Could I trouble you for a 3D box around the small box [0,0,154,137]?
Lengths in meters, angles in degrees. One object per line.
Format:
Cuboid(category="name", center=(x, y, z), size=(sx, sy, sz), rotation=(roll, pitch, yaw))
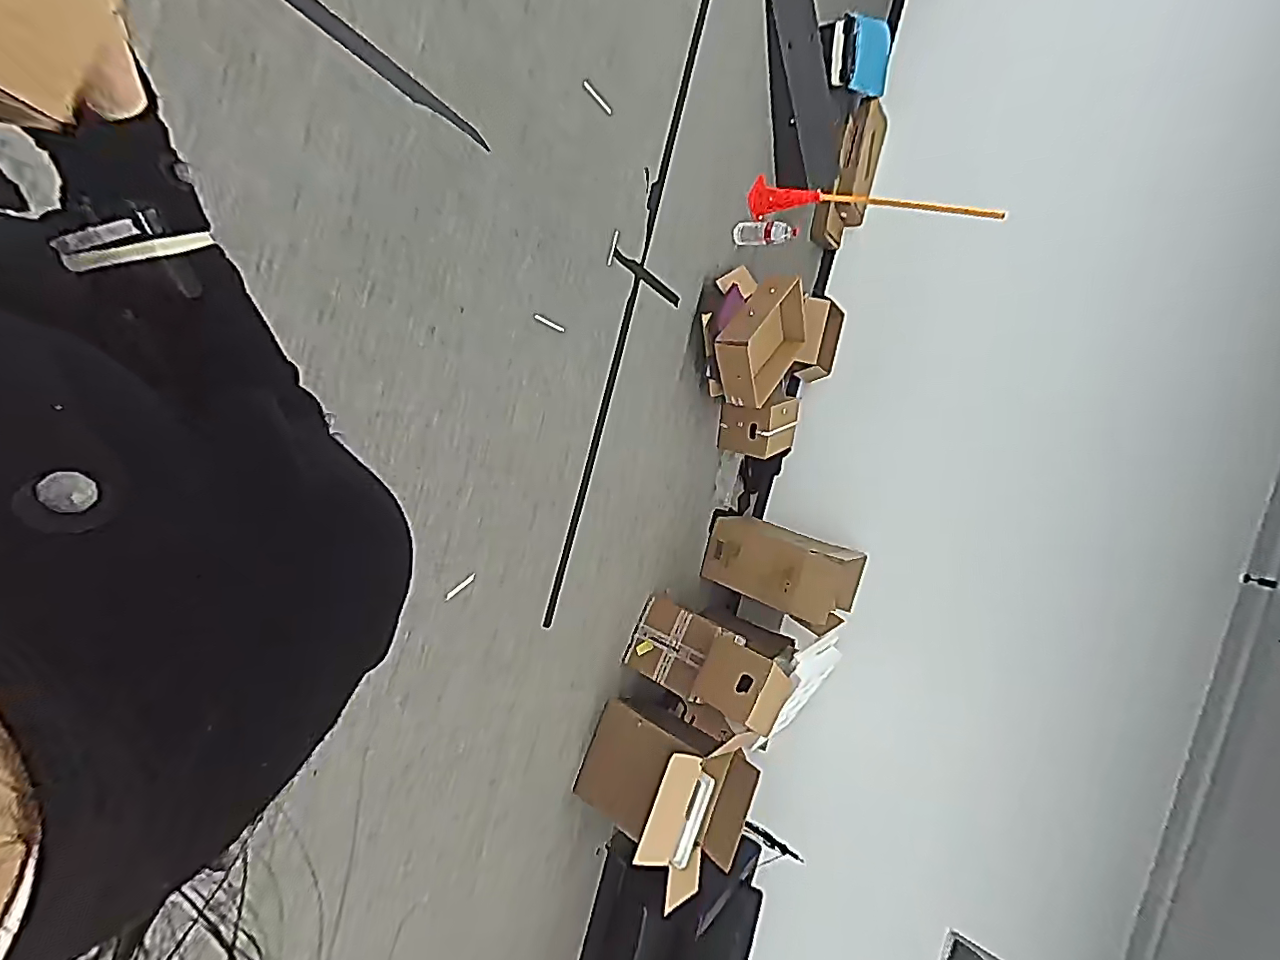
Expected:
Cuboid(category="small box", center=(-0.308, -0.264, 0.194), size=(0.179, 0.176, 0.168), rotation=(-71, 160, -3))
